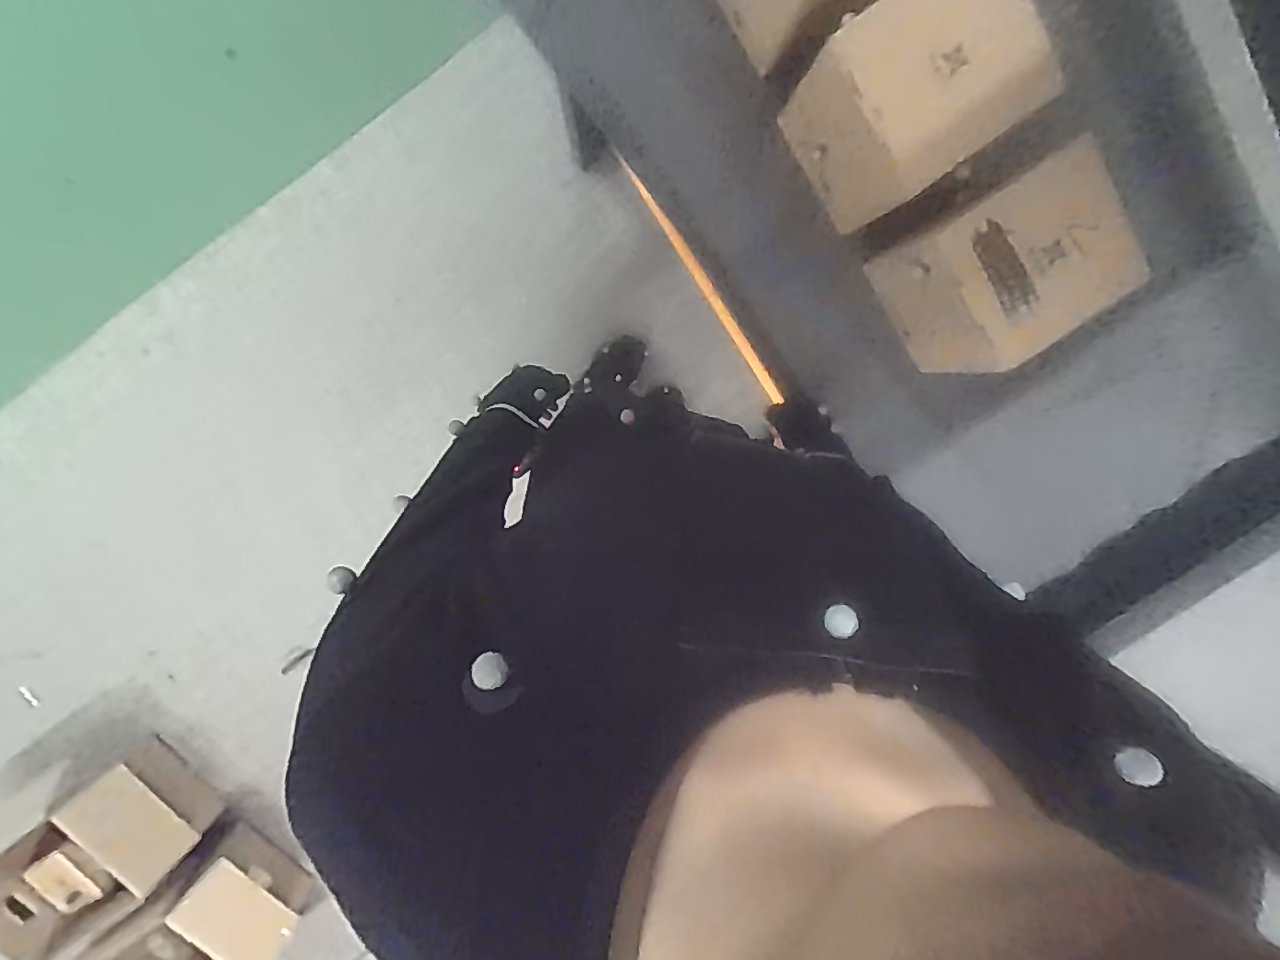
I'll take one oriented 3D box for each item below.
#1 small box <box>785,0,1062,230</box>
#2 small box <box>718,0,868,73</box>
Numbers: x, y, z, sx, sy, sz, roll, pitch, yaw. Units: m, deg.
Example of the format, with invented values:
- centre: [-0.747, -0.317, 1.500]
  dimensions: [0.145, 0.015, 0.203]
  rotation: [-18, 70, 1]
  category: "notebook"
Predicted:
- centre: [0.290, -0.408, 0.591]
  dimensions: [0.179, 0.176, 0.168]
  rotation: [-34, 102, 5]
  category: "small box"
- centre: [0.176, -0.577, 0.548]
  dimensions: [0.179, 0.176, 0.168]
  rotation: [-35, 101, 4]
  category: "small box"
